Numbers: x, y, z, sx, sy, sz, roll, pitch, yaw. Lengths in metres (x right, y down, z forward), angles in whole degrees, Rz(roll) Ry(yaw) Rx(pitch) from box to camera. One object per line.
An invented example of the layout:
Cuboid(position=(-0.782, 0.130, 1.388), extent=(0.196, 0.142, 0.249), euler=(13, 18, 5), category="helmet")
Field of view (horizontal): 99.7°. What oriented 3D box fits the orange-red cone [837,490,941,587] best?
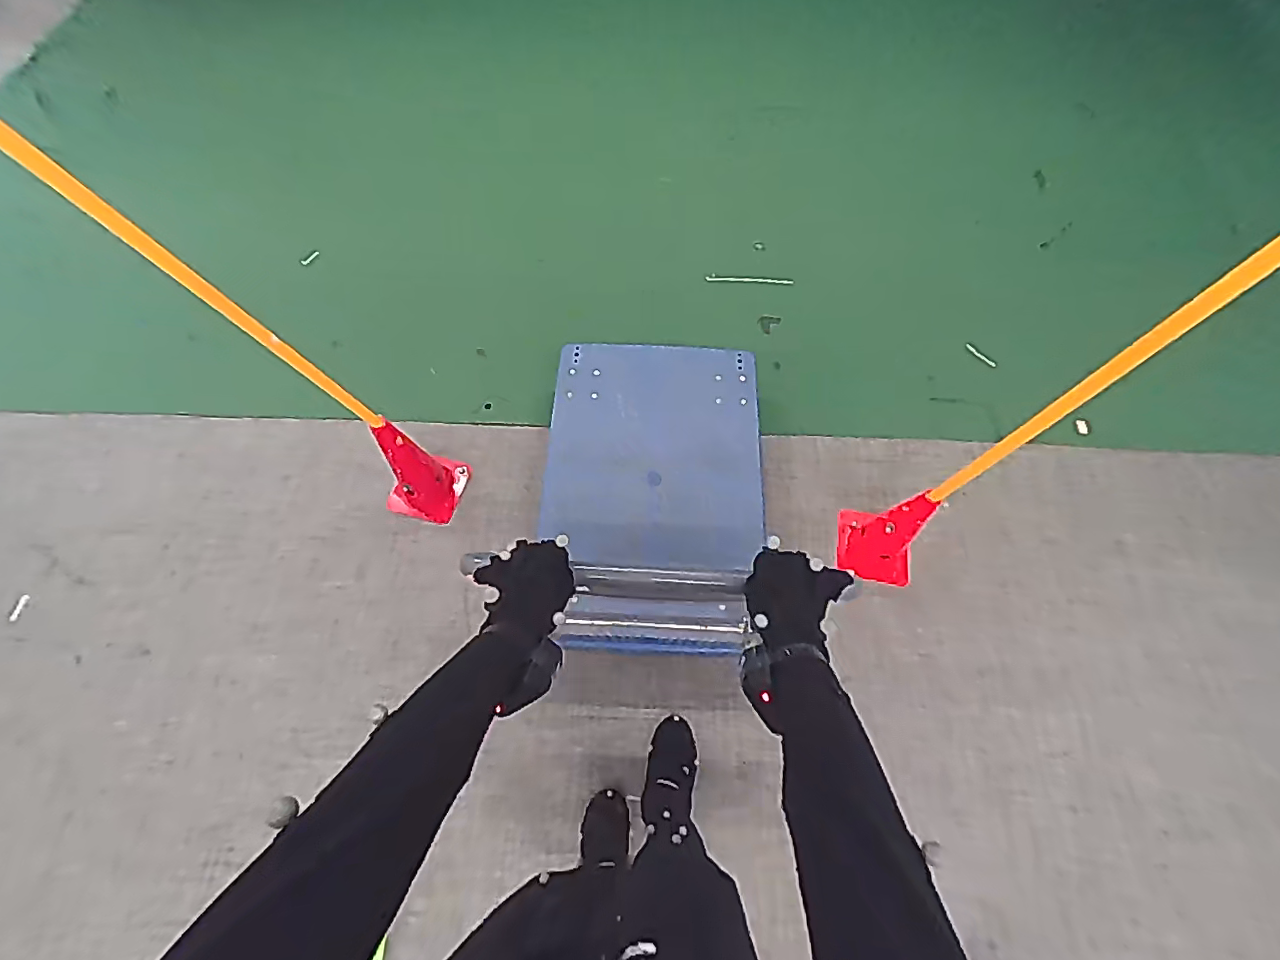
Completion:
Cuboid(position=(0.659, 0.116, 1.369), extent=(0.198, 0.360, 0.199), euler=(12, 65, 6), category="orange-red cone")
